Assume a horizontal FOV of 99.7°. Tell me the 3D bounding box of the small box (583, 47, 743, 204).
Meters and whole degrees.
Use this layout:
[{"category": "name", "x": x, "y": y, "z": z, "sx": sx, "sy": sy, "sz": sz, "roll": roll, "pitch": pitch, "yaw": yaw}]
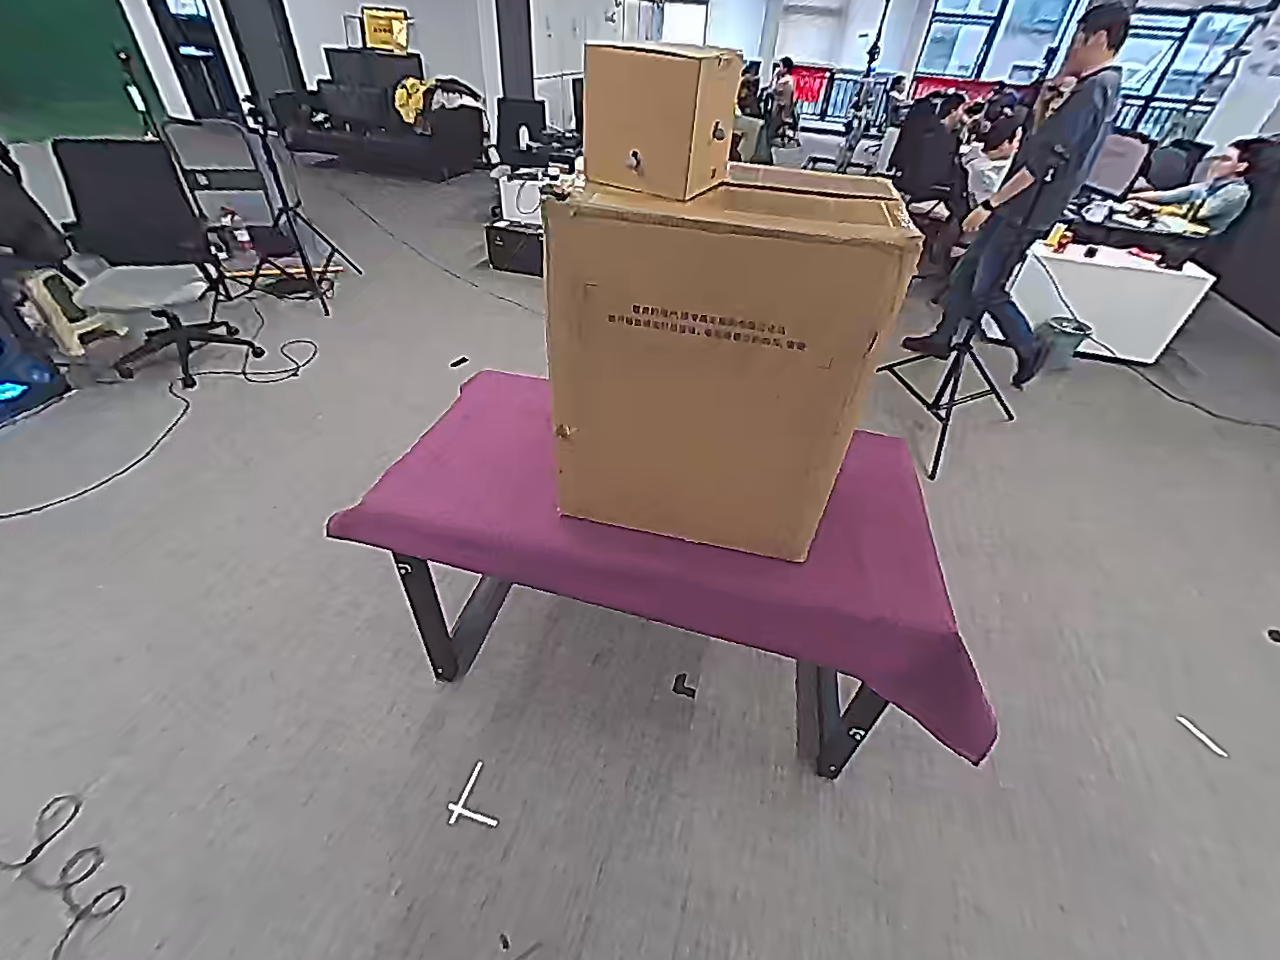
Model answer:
[{"category": "small box", "x": 0.030, "y": -0.527, "z": 0.807, "sx": 0.179, "sy": 0.176, "sz": 0.168, "roll": 22, "pitch": 44, "yaw": 18}]
